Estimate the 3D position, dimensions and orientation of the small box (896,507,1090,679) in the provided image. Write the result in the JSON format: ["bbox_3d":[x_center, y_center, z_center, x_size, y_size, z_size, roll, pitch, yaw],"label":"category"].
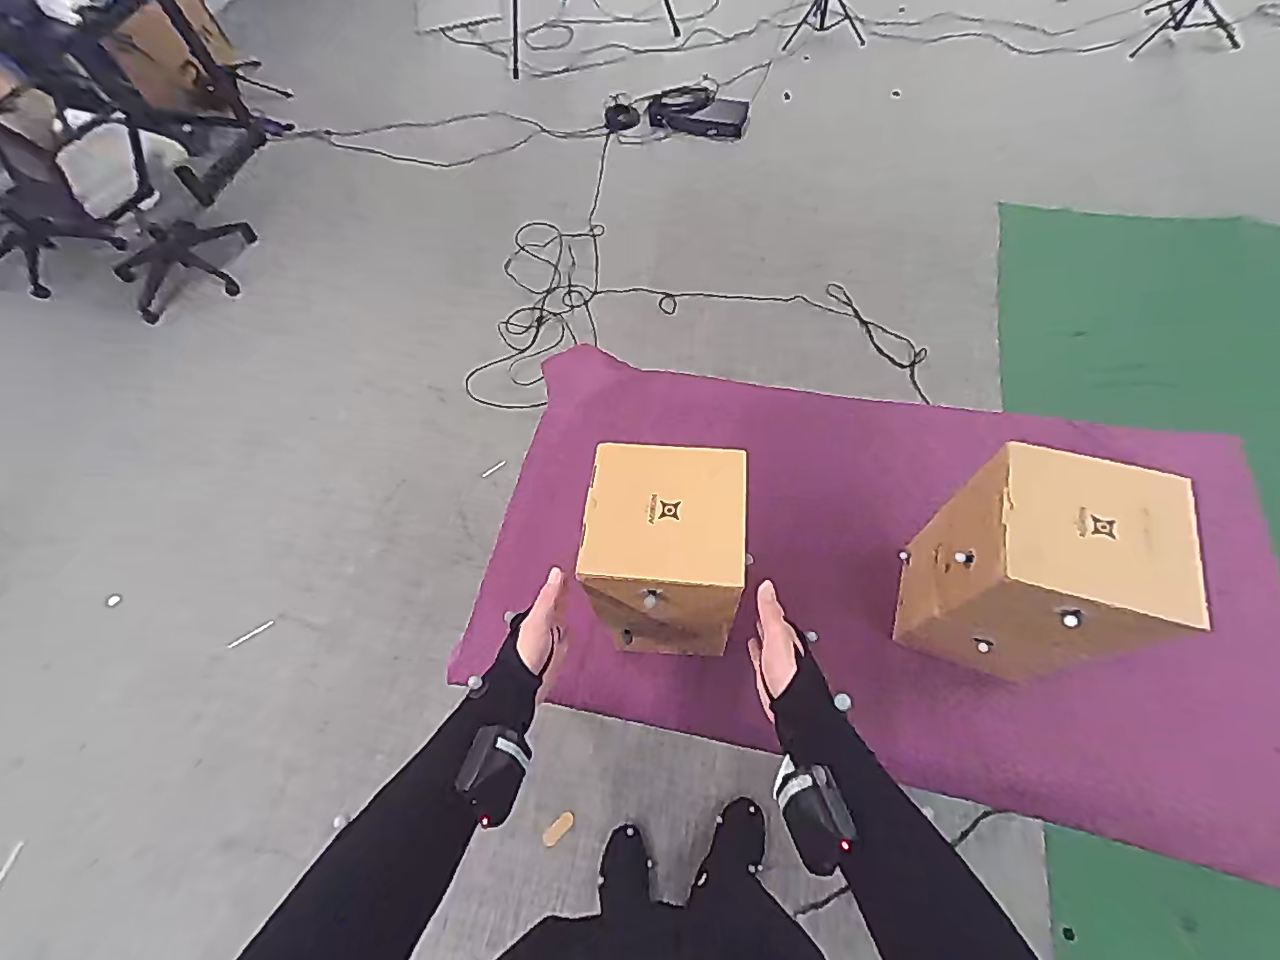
[{"bbox_3d":[0.481,0.164,0.757,0.179,0.176,0.168,16,65,12],"label":"small box"}]

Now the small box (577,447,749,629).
[{"bbox_3d":[0.035,0.077,0.657,0.179,0.176,0.168,3,61,7],"label":"small box"}]

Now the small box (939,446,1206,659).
[{"bbox_3d":[0.466,0.089,0.613,0.179,0.176,0.168,15,65,13],"label":"small box"}]
